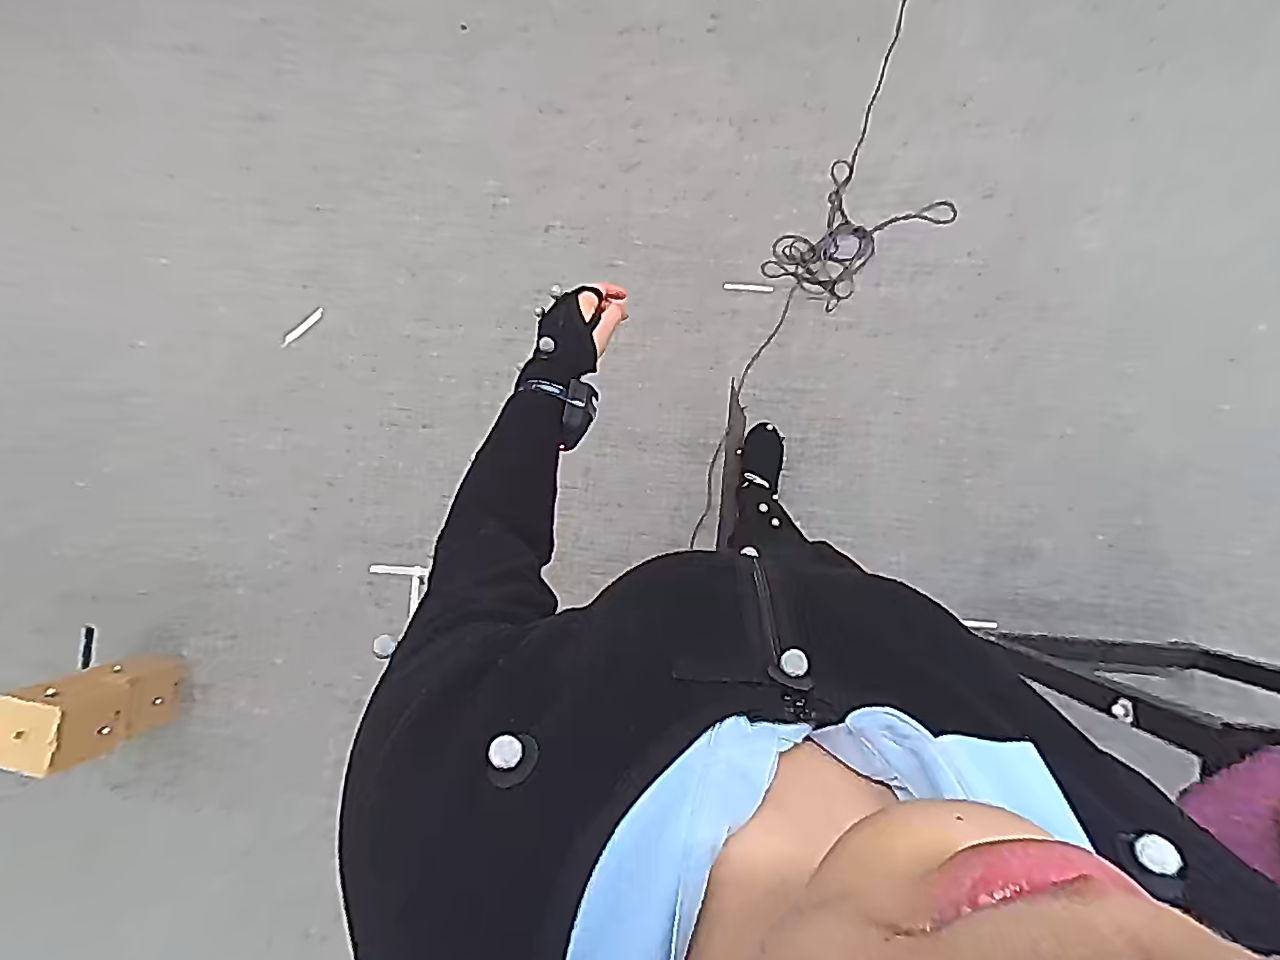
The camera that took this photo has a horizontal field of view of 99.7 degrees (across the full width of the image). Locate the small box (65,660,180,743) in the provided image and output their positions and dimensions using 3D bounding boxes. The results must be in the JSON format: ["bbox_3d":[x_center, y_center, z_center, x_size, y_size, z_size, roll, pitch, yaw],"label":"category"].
[{"bbox_3d":[-1.428,0.604,1.494,0.179,0.176,0.168,3,86,5],"label":"small box"}]

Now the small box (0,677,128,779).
[{"bbox_3d":[-1.436,0.600,1.331,0.179,0.176,0.168,10,87,4],"label":"small box"}]
